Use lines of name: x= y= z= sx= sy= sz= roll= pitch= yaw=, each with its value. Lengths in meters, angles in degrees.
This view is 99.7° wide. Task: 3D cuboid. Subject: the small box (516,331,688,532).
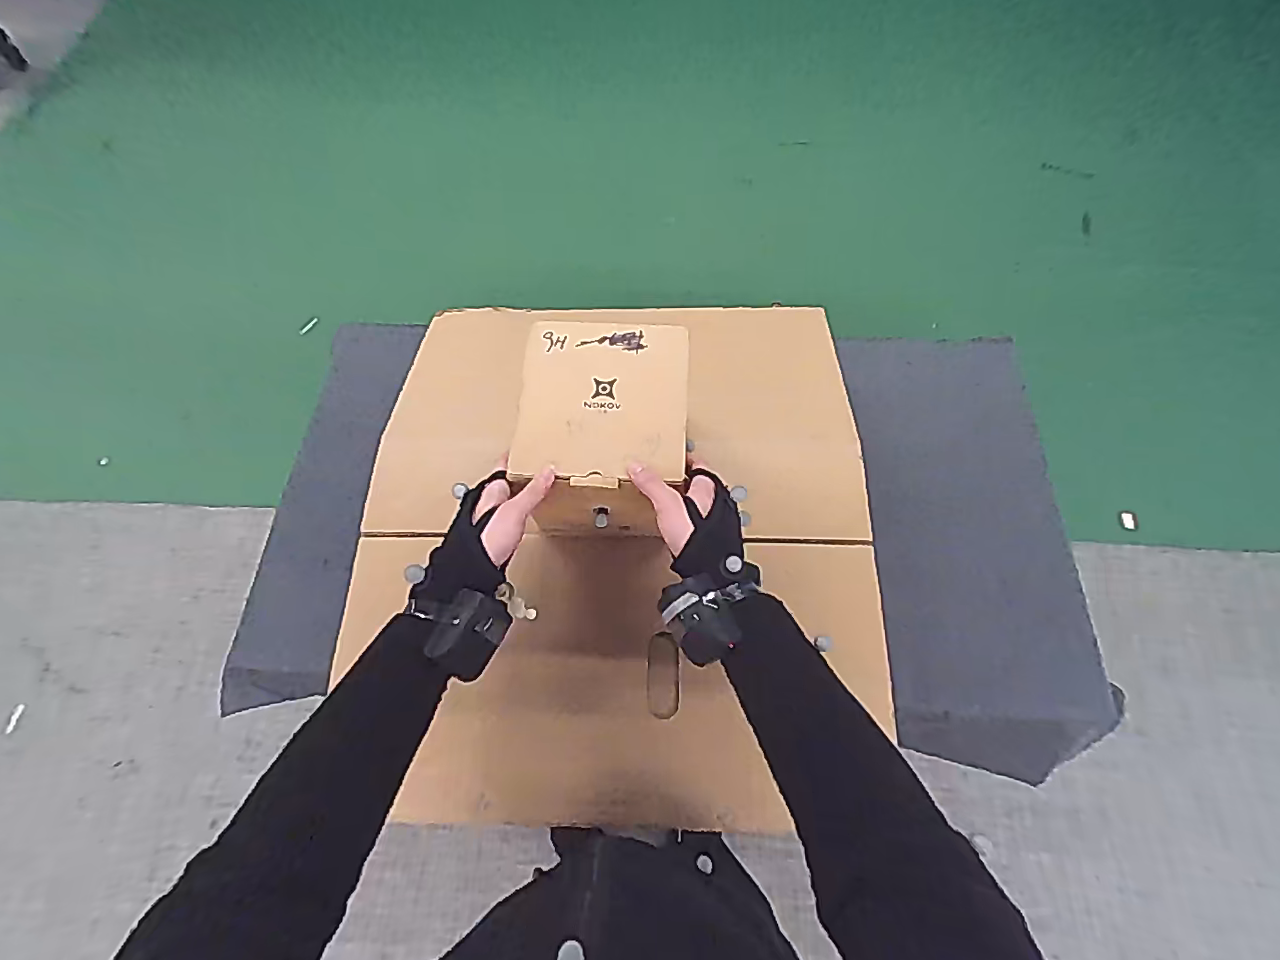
small box: x=-0.031 y=-0.044 z=0.608 sx=0.168 sy=0.176 sz=0.179 roll=0 pitch=67 yaw=2
